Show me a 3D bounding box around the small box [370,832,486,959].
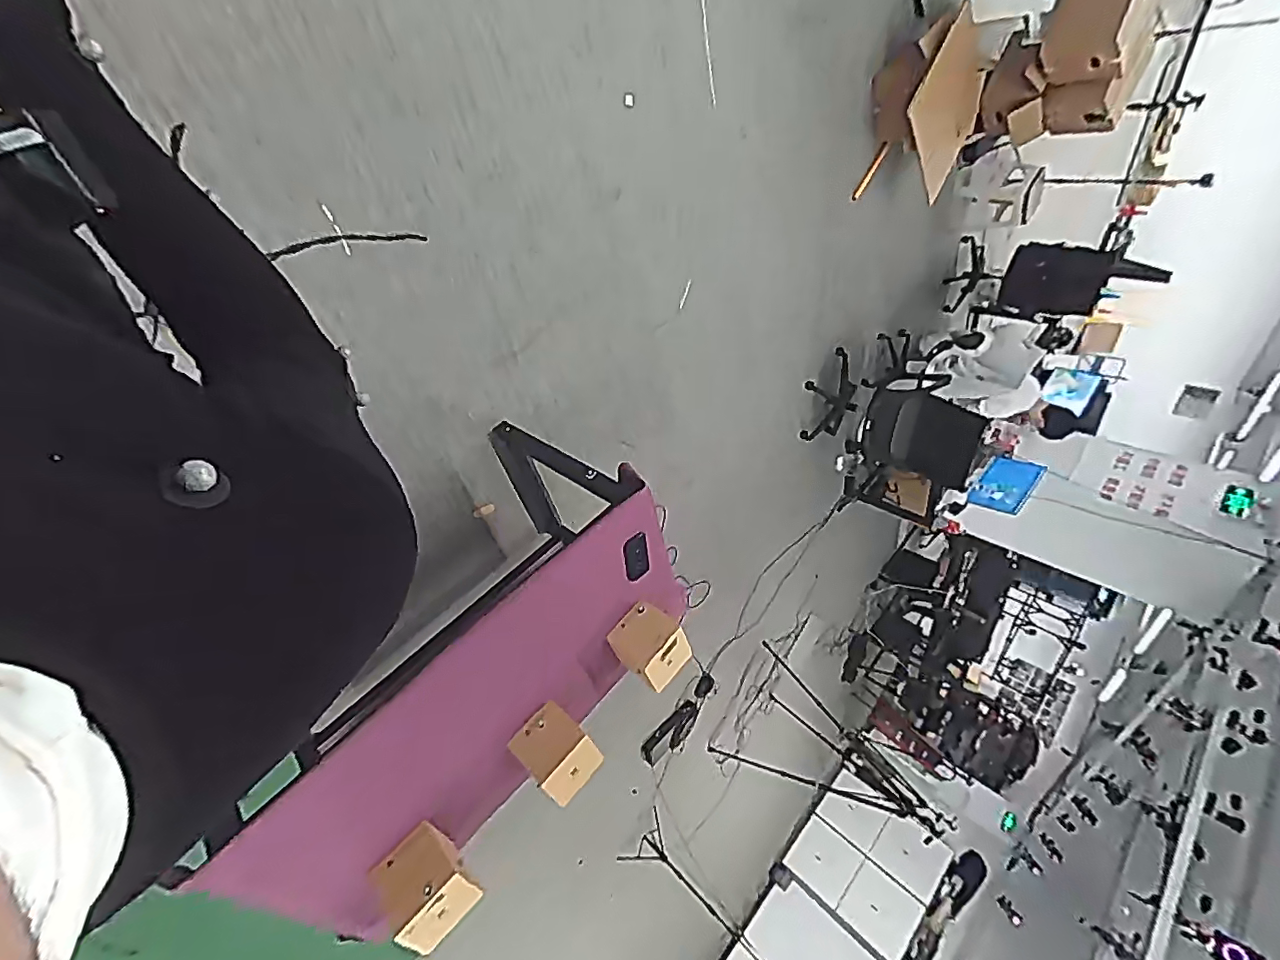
[{"bbox_3d":[-0.504,0.989,1.290,0.168,0.176,0.179,-40,136,-28],"label":"small box"}]

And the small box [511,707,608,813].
[{"bbox_3d":[-0.220,0.761,1.481,0.168,0.176,0.179,-42,136,-26],"label":"small box"}]

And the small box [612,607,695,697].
[{"bbox_3d":[0.039,0.509,1.627,0.168,0.176,0.179,-44,138,-22],"label":"small box"}]
